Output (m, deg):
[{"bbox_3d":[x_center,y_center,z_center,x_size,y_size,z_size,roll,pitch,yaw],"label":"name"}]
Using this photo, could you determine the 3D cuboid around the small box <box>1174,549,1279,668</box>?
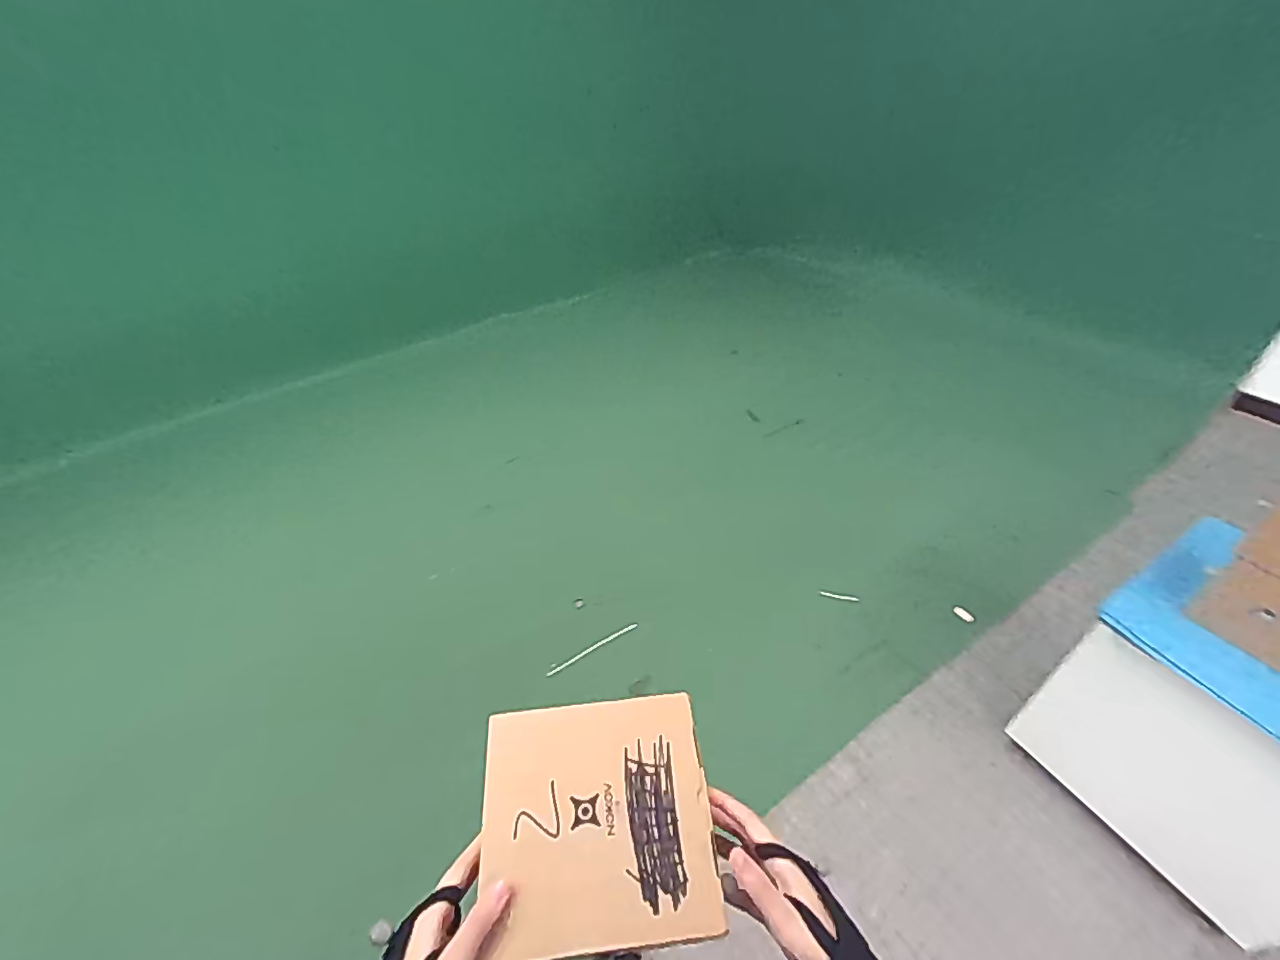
[{"bbox_3d":[1.096,0.195,0.925,0.168,0.176,0.179,-25,45,-21],"label":"small box"}]

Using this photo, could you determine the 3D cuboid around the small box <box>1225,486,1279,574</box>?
[{"bbox_3d":[1.079,0.067,0.822,0.168,0.176,0.179,-24,45,-22],"label":"small box"}]
